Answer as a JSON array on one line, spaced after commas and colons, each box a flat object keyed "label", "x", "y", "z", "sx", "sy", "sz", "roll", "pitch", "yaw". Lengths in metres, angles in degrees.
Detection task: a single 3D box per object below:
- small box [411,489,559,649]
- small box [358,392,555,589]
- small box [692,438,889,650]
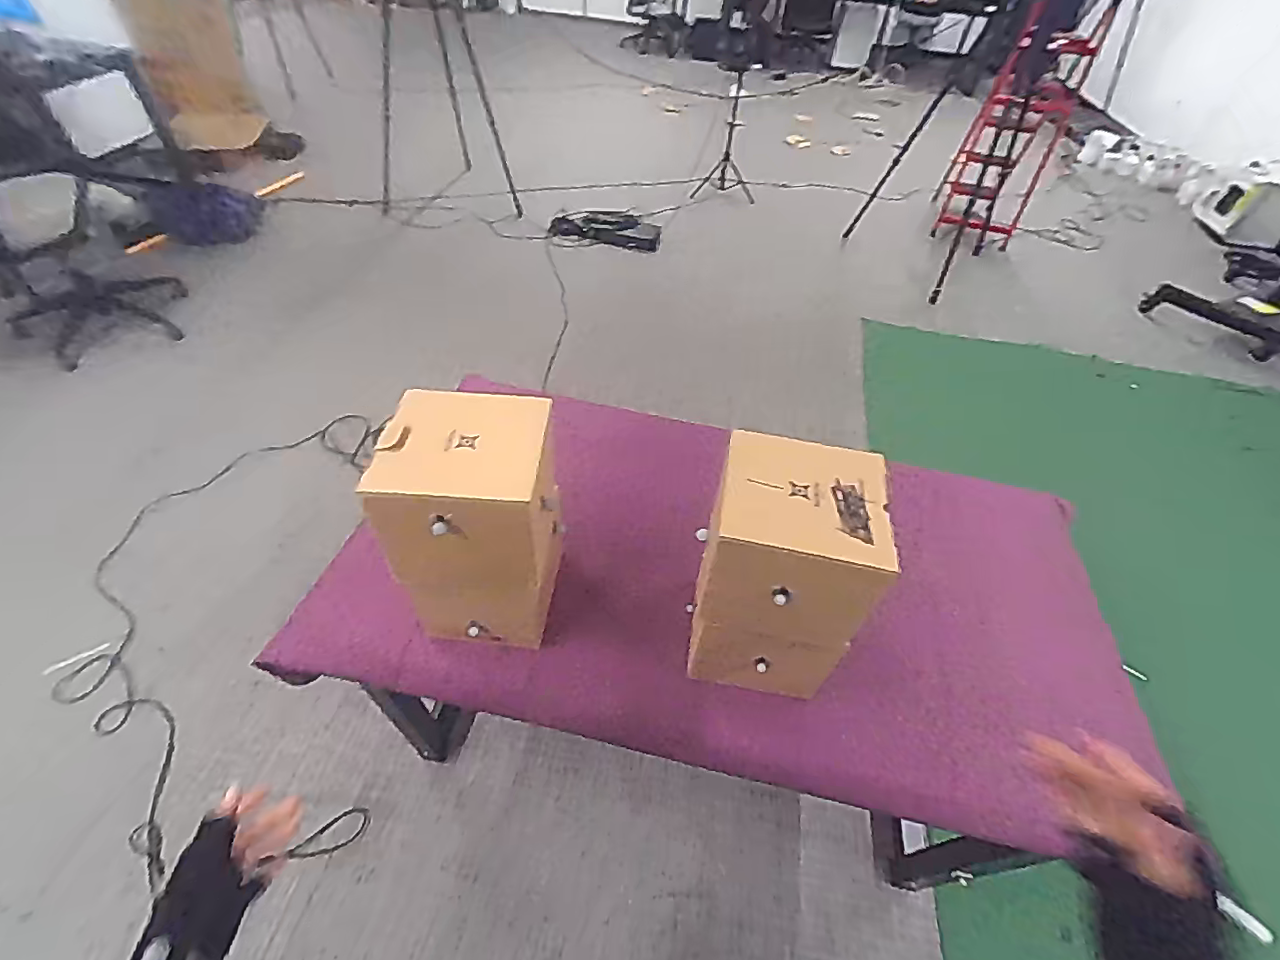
[{"label": "small box", "x": -0.215, "y": 0.118, "z": 0.781, "sx": 0.168, "sy": 0.176, "sz": 0.179, "roll": 8, "pitch": 48, "yaw": 0}, {"label": "small box", "x": -0.200, "y": 0.017, "z": 0.654, "sx": 0.179, "sy": 0.176, "sz": 0.168, "roll": 5, "pitch": 47, "yaw": -3}, {"label": "small box", "x": 0.168, "y": 0.080, "z": 0.639, "sx": 0.179, "sy": 0.176, "sz": 0.168, "roll": 12, "pitch": 47, "yaw": 6}]
